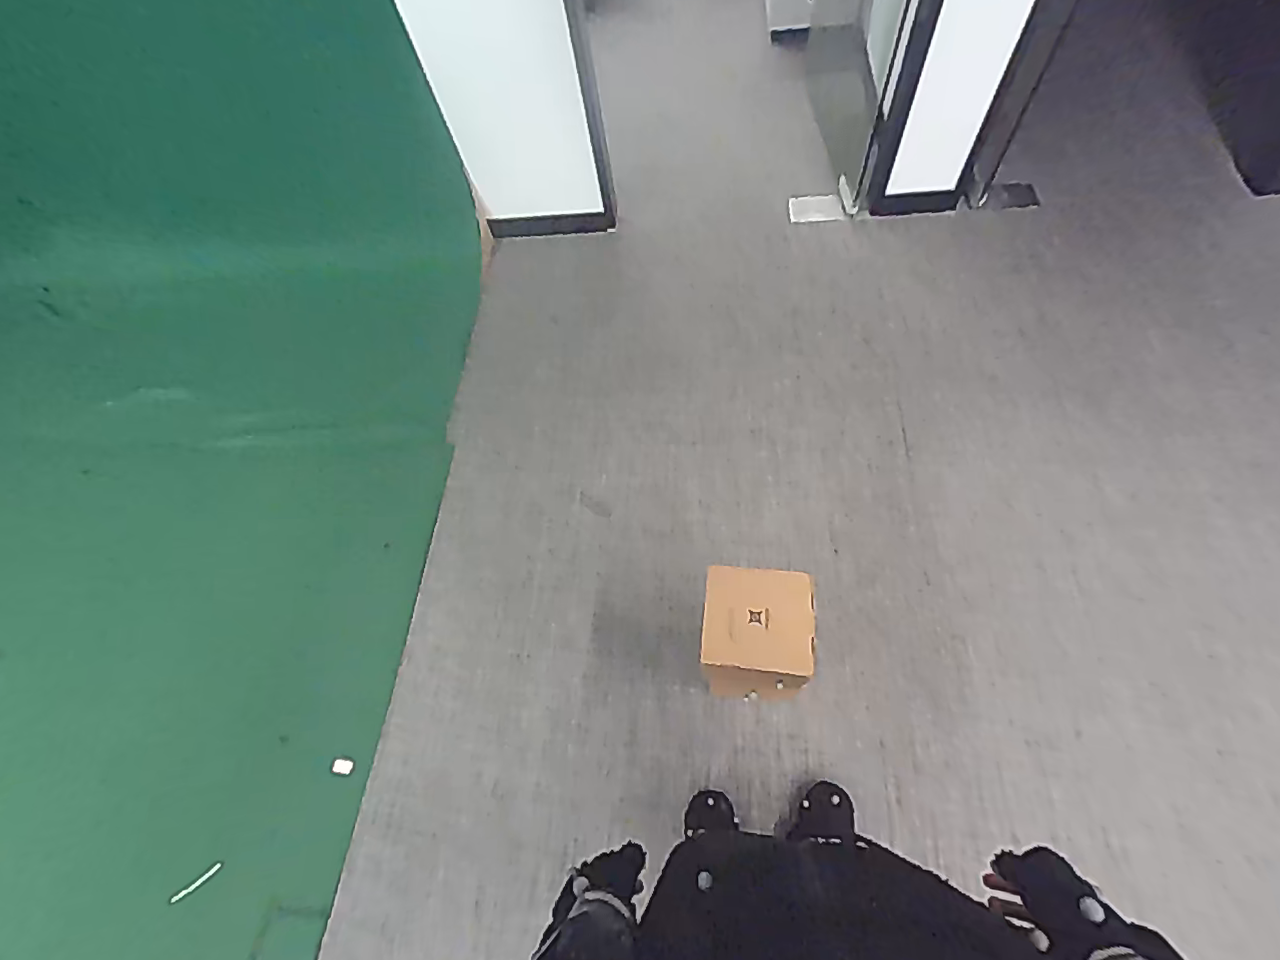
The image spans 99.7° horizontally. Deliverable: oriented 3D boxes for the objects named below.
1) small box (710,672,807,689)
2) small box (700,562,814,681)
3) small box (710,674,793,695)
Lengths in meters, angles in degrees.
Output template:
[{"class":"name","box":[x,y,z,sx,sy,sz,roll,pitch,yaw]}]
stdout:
[{"class":"small box","box":[0.237,0.323,1.093,0.179,0.176,0.168,4,65,10]},{"class":"small box","box":[0.203,0.253,0.949,0.179,0.176,0.168,2,63,11]},{"class":"small box","box":[0.256,0.390,1.238,0.179,0.176,0.168,6,63,11]}]
